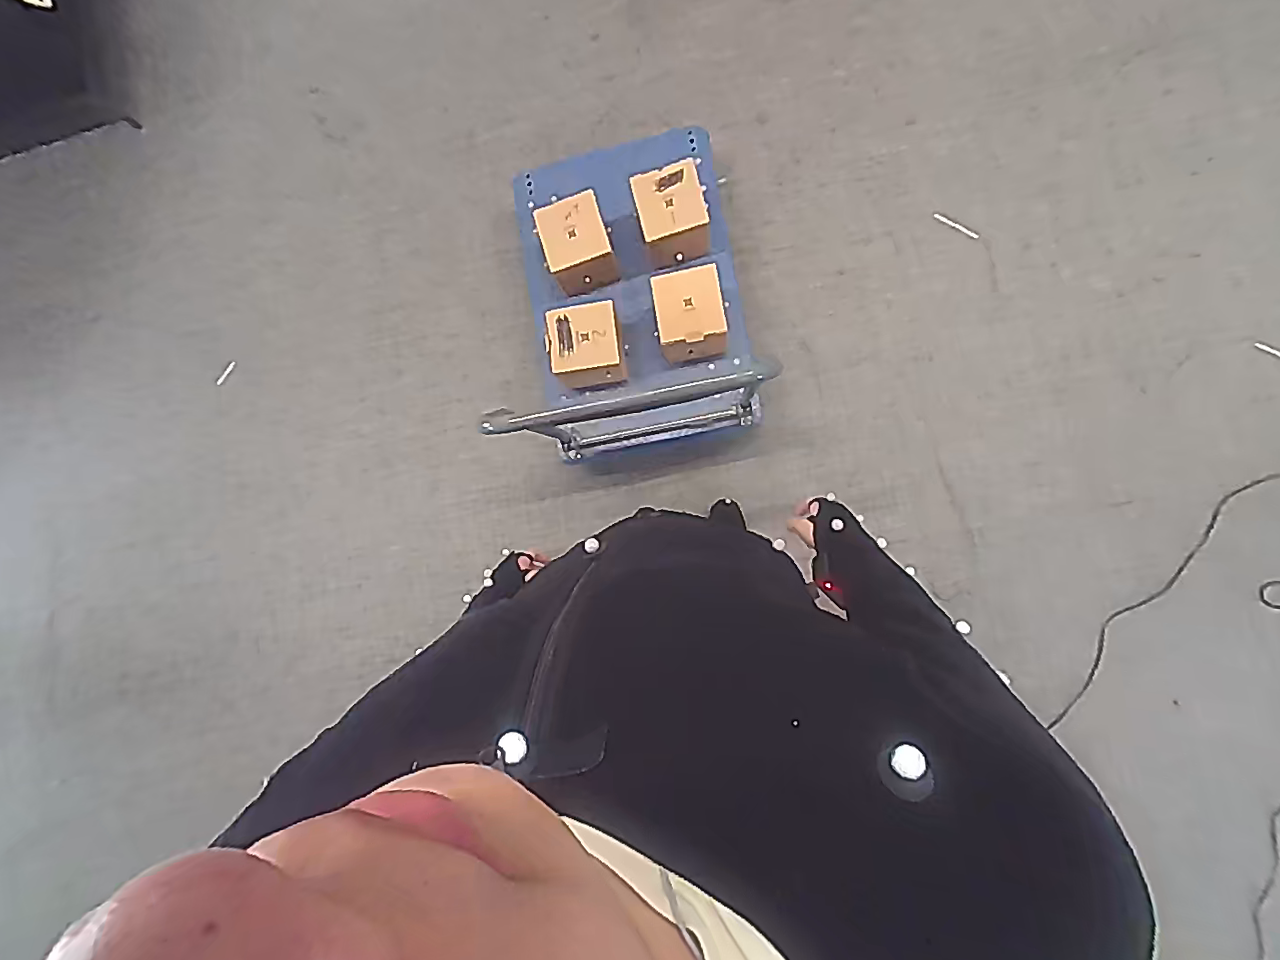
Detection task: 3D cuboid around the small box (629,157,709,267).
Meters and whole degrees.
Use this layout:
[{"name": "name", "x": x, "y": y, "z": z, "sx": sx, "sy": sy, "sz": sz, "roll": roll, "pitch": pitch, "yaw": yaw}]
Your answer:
[{"name": "small box", "x": 0.079, "y": -0.693, "z": 1.414, "sx": 0.168, "sy": 0.176, "sz": 0.179, "roll": -15, "pitch": 86, "yaw": 7}]

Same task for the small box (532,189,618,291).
[{"name": "small box", "x": -0.166, "y": -0.628, "z": 1.443, "sx": 0.168, "sy": 0.176, "sz": 0.179, "roll": -17, "pitch": 86, "yaw": 6}]

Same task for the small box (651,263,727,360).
[{"name": "small box", "x": 0.127, "y": -0.428, "z": 1.397, "sx": 0.168, "sy": 0.176, "sz": 0.179, "roll": -11, "pitch": 86, "yaw": 7}]
